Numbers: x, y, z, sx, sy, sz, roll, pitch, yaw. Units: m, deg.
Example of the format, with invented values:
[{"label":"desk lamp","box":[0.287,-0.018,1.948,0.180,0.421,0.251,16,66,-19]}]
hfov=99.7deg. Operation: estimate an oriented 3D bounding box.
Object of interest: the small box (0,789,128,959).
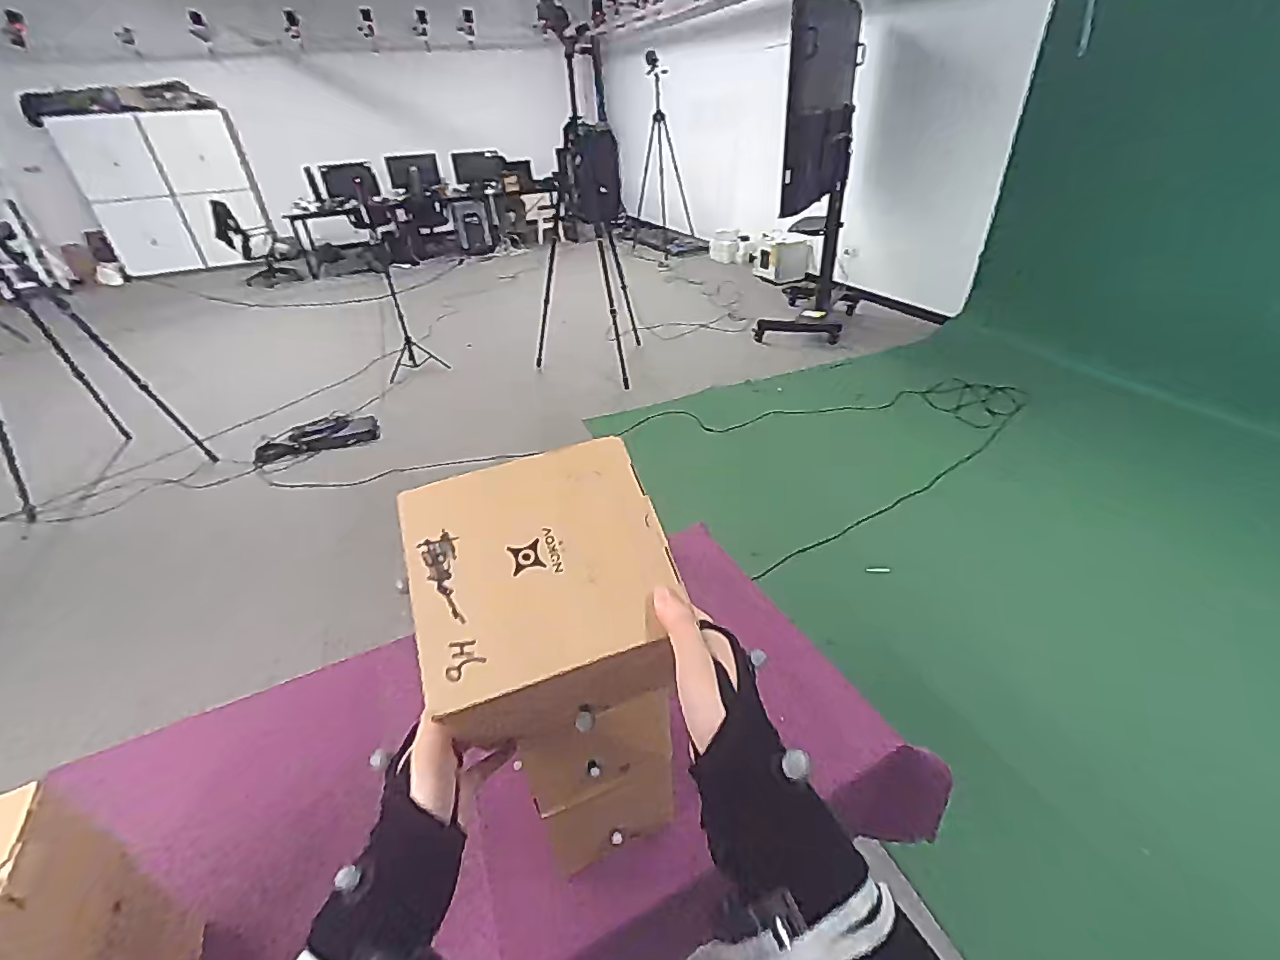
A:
[{"label":"small box","box":[-0.595,0.415,0.458,0.179,0.176,0.168,-19,37,-22]}]

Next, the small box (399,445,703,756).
[{"label":"small box","box":[-0.071,0.100,0.432,0.179,0.176,0.168,-15,59,-13]}]

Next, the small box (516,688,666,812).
[{"label":"small box","box":[-0.078,0.250,0.652,0.168,0.176,0.179,-16,37,-18]}]

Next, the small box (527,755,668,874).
[{"label":"small box","box":[-0.071,0.385,0.742,0.168,0.176,0.179,-17,37,-17]}]
